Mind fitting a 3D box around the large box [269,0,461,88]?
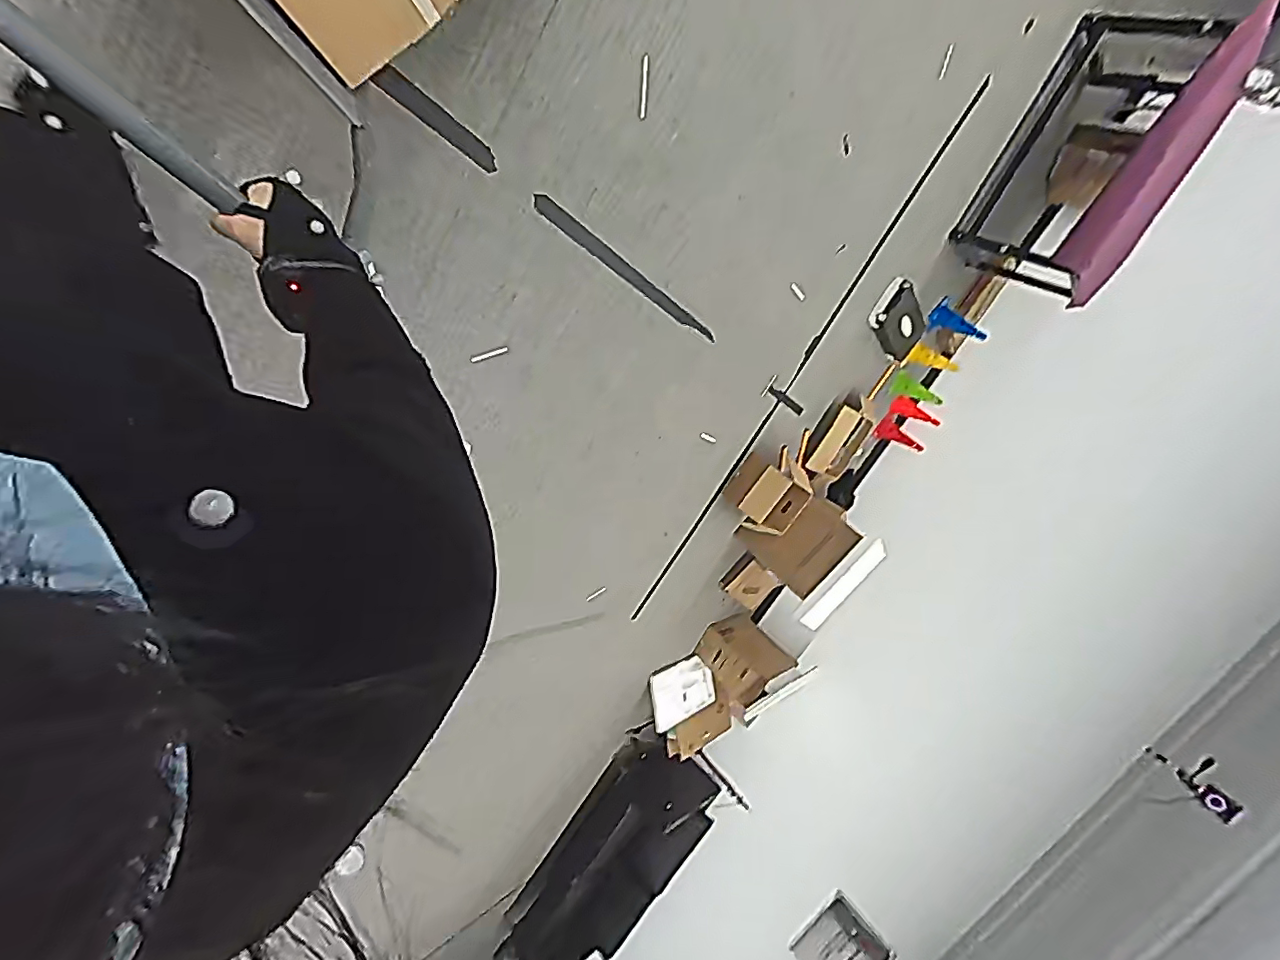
[{"bbox_3d":[-0.423,-0.828,0.665,0.320,0.320,0.408,-30,149,10],"label":"large box"}]
